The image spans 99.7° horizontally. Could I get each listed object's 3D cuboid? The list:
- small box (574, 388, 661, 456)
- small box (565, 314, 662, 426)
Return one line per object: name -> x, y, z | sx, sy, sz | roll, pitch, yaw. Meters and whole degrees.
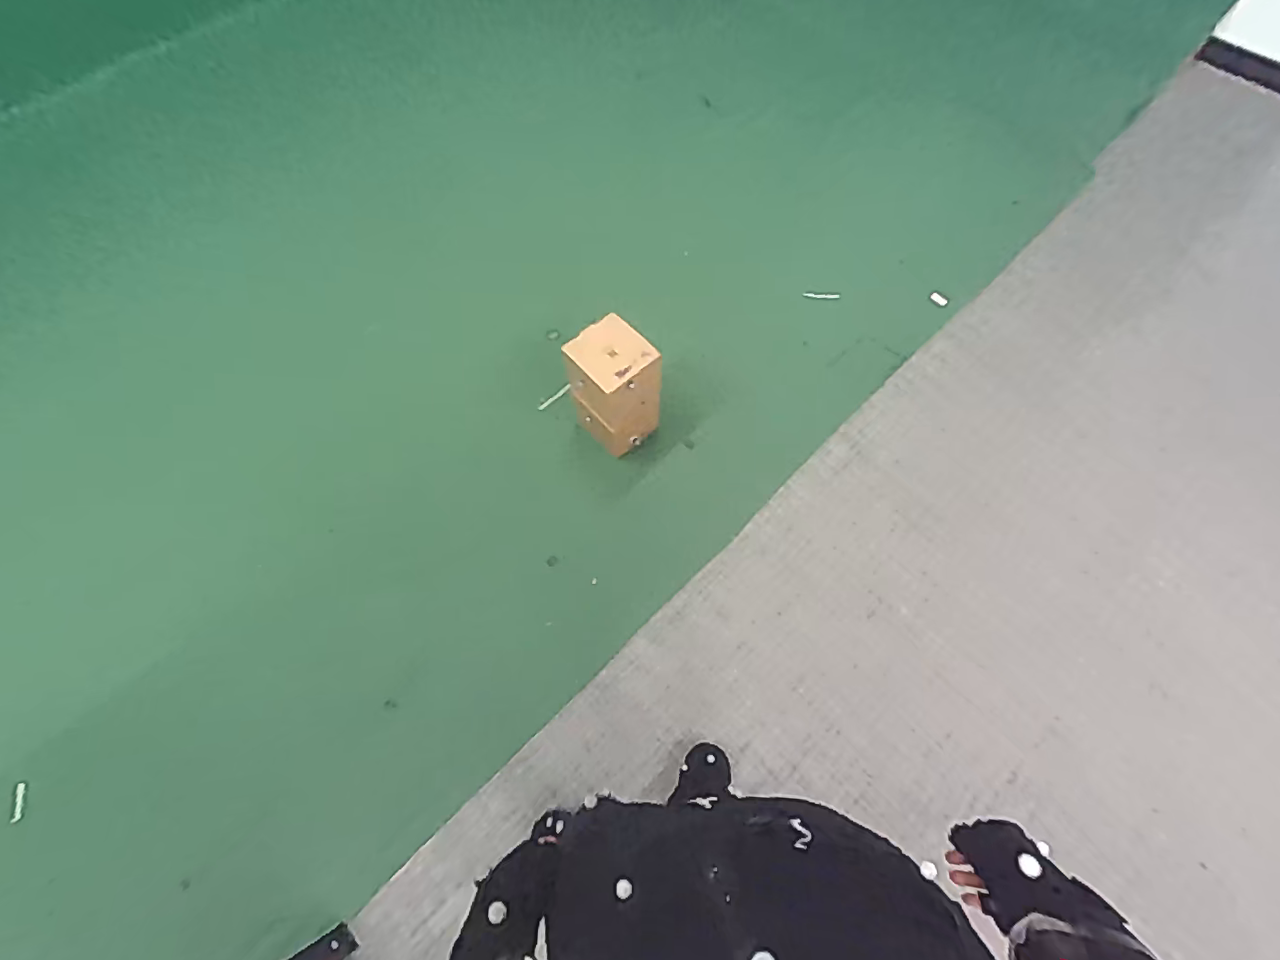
small box -> -0.060, -0.197, 1.492 | 0.168, 0.176, 0.179 | -40, 73, -14
small box -> -0.063, -0.268, 1.344 | 0.168, 0.176, 0.179 | -39, 70, -14
